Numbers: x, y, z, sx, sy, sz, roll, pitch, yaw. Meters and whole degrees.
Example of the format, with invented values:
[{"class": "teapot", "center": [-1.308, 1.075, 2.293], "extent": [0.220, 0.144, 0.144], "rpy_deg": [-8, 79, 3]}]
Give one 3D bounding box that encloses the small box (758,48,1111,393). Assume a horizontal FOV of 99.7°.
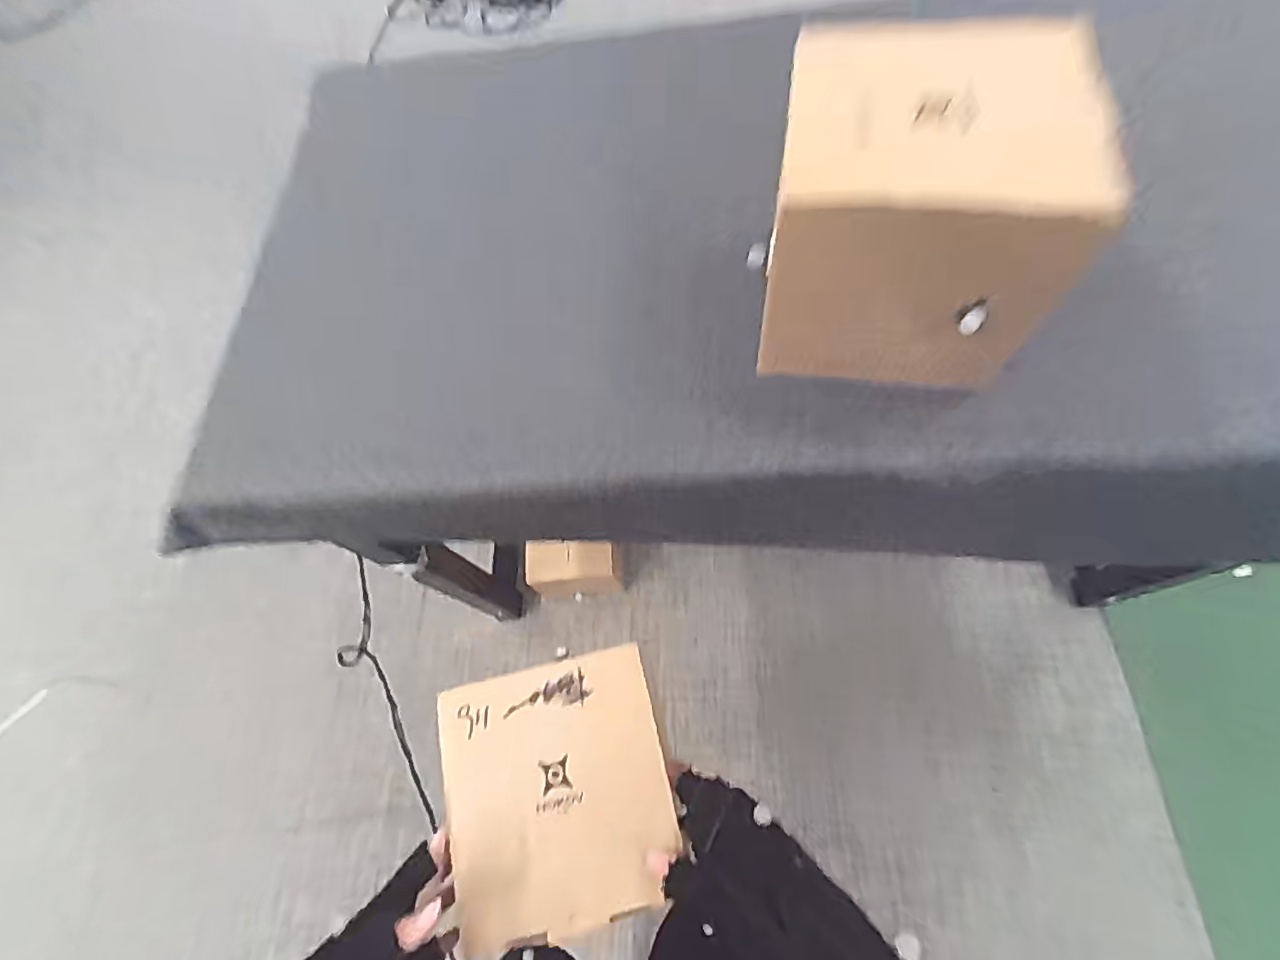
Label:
[{"class": "small box", "center": [0.189, -0.181, 0.406], "extent": [0.179, 0.176, 0.168], "rpy_deg": [6, 65, 10]}]
